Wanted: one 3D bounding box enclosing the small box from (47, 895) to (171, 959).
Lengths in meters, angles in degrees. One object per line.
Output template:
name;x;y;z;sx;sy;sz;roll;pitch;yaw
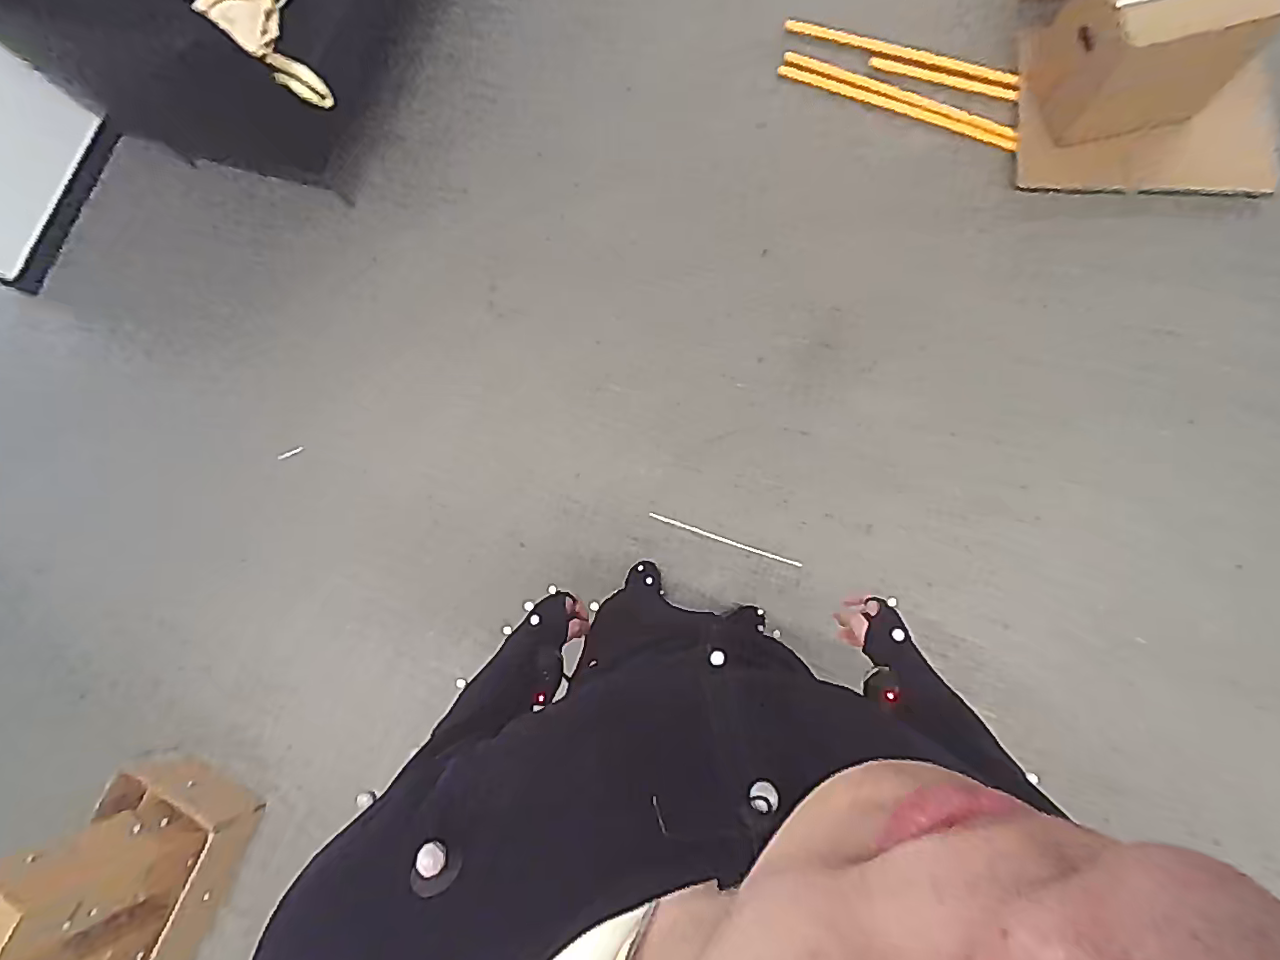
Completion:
small box;-1.530;1.333;1.560;0.179;0.176;0.168;24;83;14

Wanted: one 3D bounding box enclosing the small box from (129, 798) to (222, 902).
small box;-1.402;1.074;1.592;0.179;0.176;0.168;24;83;13

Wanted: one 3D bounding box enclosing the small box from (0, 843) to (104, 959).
small box;-1.451;1.002;1.277;0.179;0.176;0.168;26;84;13

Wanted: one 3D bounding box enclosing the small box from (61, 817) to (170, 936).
small box;-1.424;1.034;1.435;0.179;0.176;0.168;25;84;14
